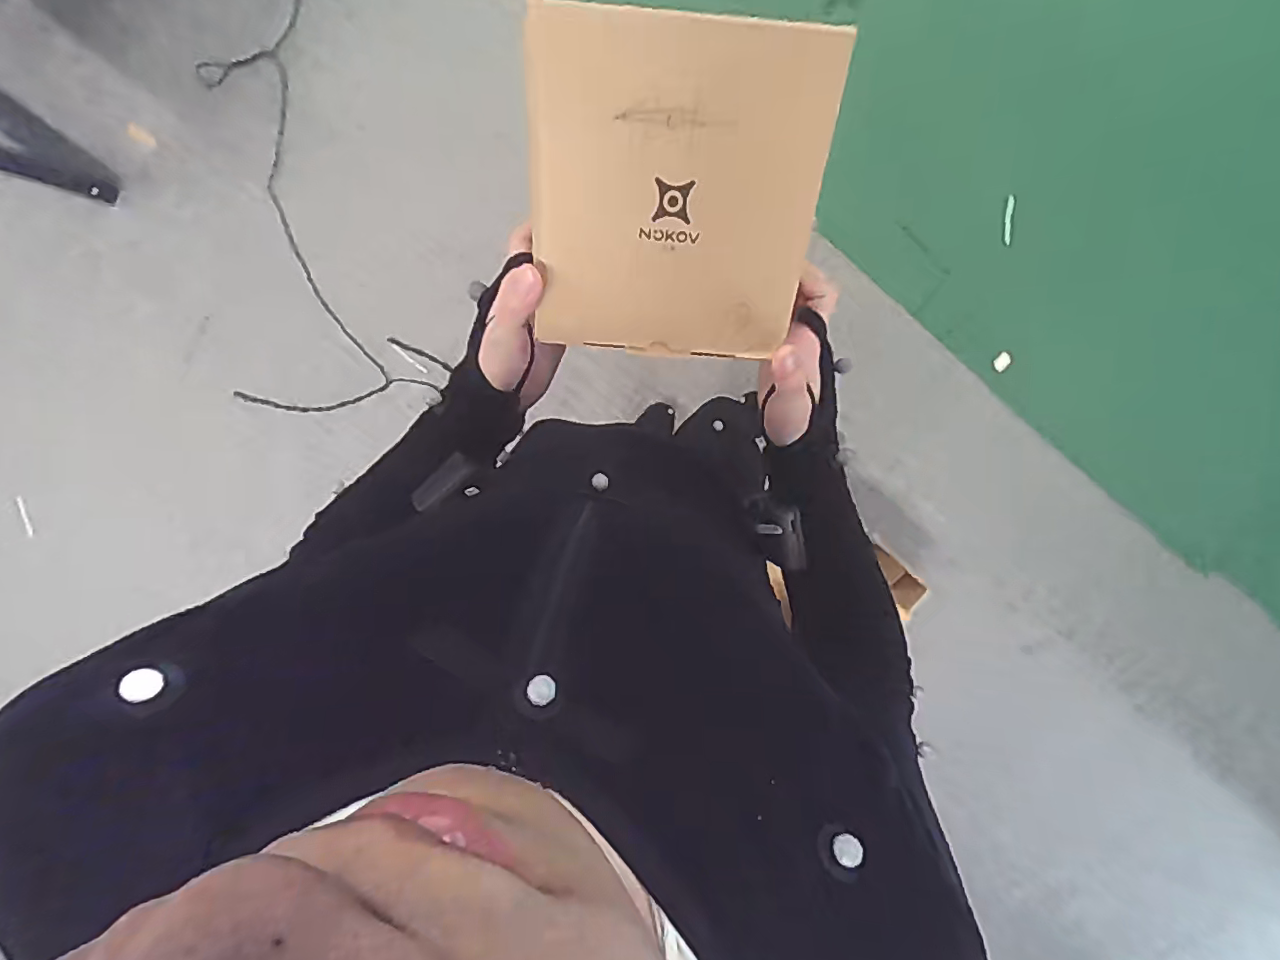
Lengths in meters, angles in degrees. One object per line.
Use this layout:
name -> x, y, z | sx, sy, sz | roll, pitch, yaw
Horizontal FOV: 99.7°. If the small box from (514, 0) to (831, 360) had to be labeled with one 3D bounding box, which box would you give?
small box -> 0.013, -0.203, 0.384 | 0.168, 0.176, 0.179 | 5, 122, -1
